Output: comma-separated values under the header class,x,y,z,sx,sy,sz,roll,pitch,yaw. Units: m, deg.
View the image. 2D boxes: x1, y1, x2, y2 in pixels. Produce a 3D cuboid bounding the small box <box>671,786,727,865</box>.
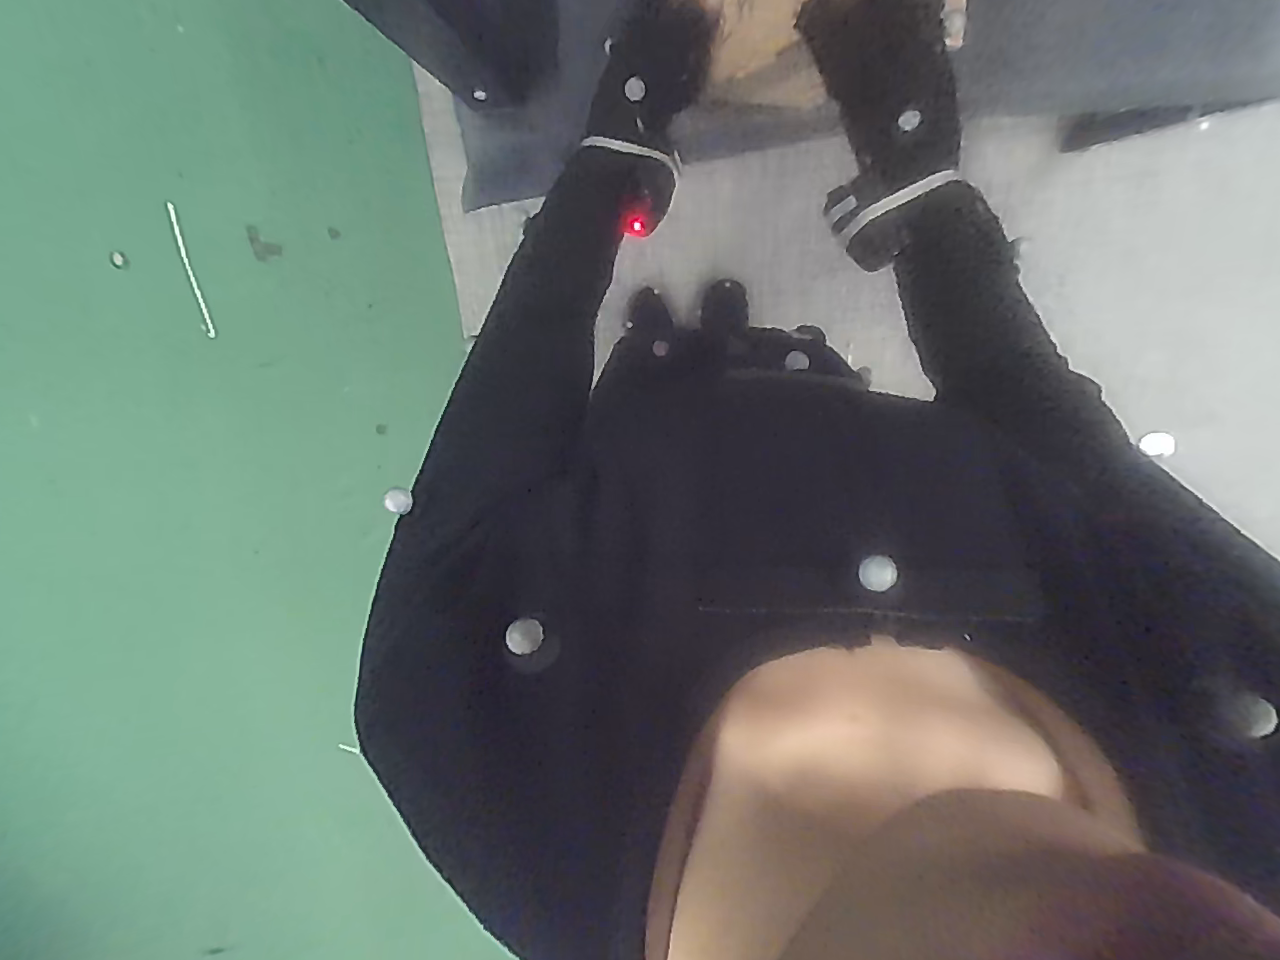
class,x,y,z,sx,sy,sz,roll,pitch,yaw
small box,0.206,1.216,1.917,0.168,0.176,0.179,-10,111,6
